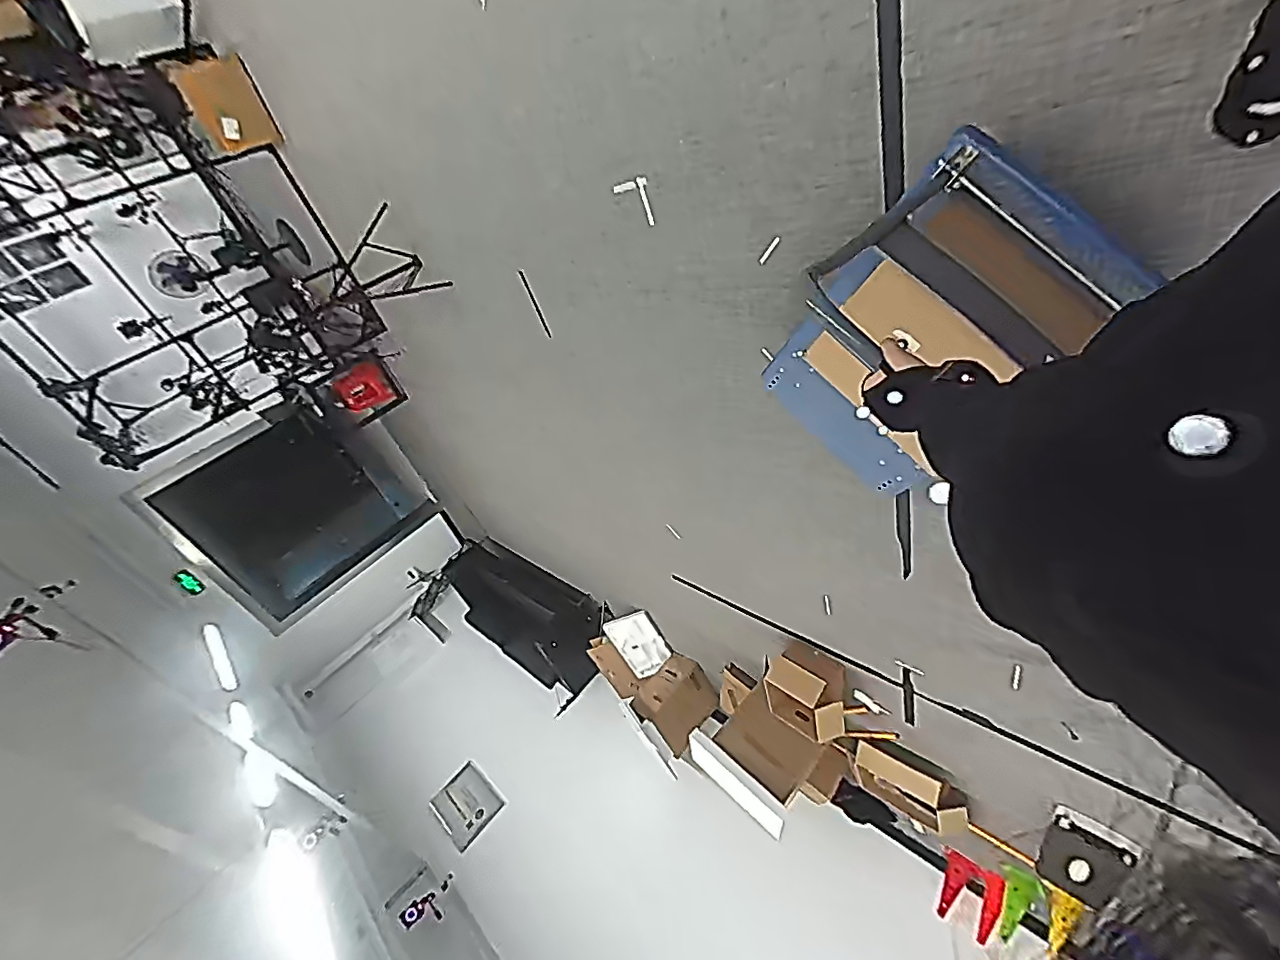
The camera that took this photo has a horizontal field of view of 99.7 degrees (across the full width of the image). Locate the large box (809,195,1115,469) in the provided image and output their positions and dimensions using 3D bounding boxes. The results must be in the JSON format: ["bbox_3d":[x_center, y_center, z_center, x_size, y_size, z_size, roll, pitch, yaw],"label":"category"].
[{"bbox_3d":[0.659,-0.305,1.145,0.408,0.320,0.320,45,152,7],"label":"large box"}]
